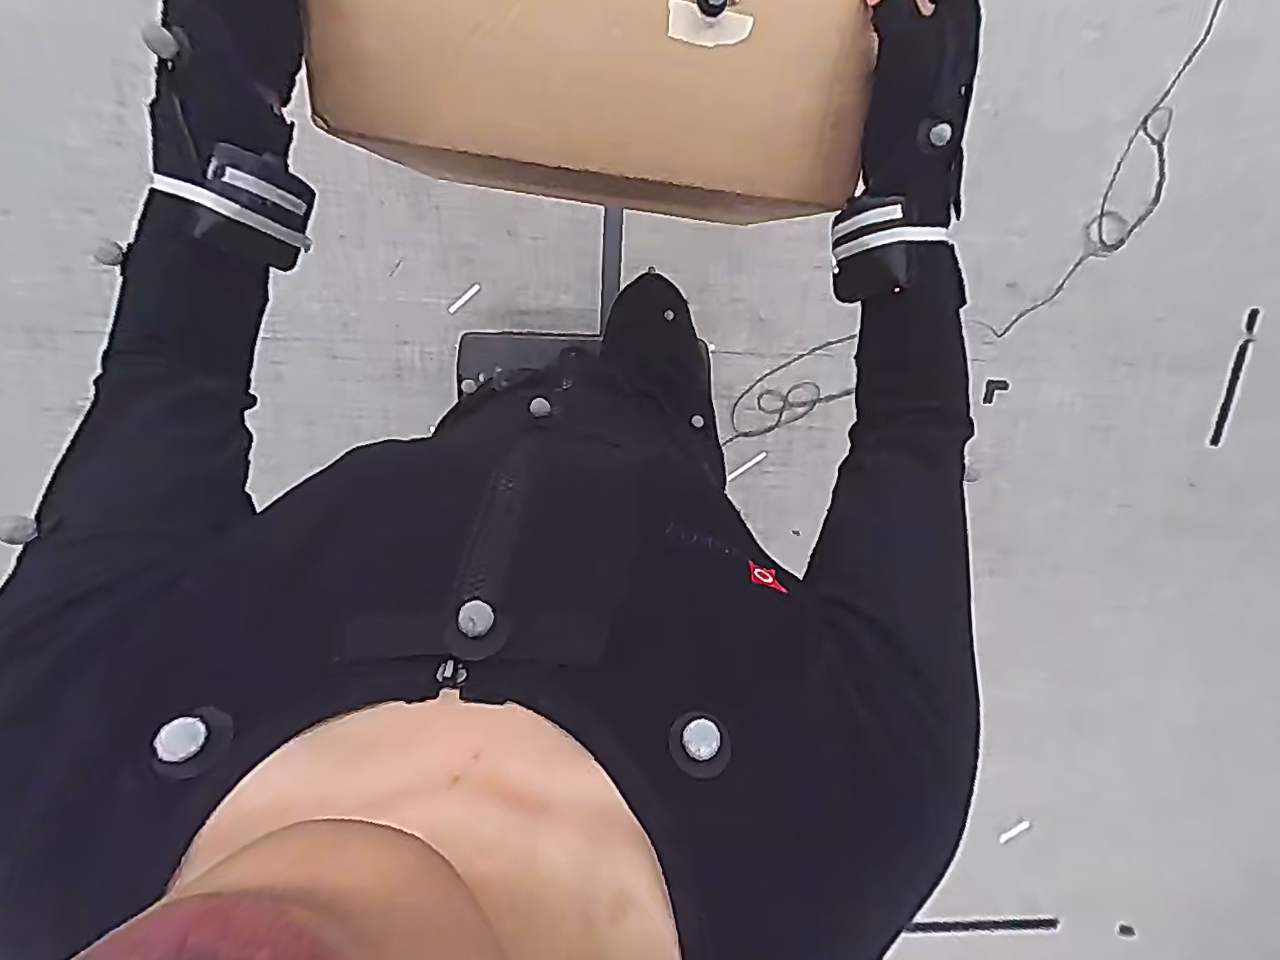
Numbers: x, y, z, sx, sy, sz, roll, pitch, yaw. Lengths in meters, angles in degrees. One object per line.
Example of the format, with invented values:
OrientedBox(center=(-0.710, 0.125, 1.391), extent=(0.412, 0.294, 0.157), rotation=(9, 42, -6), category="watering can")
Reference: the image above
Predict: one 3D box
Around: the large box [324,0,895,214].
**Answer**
OrientedBox(center=(-0.023, -0.442, 0.491), extent=(0.408, 0.320, 0.320), rotation=(4, 113, -8), category="large box")
